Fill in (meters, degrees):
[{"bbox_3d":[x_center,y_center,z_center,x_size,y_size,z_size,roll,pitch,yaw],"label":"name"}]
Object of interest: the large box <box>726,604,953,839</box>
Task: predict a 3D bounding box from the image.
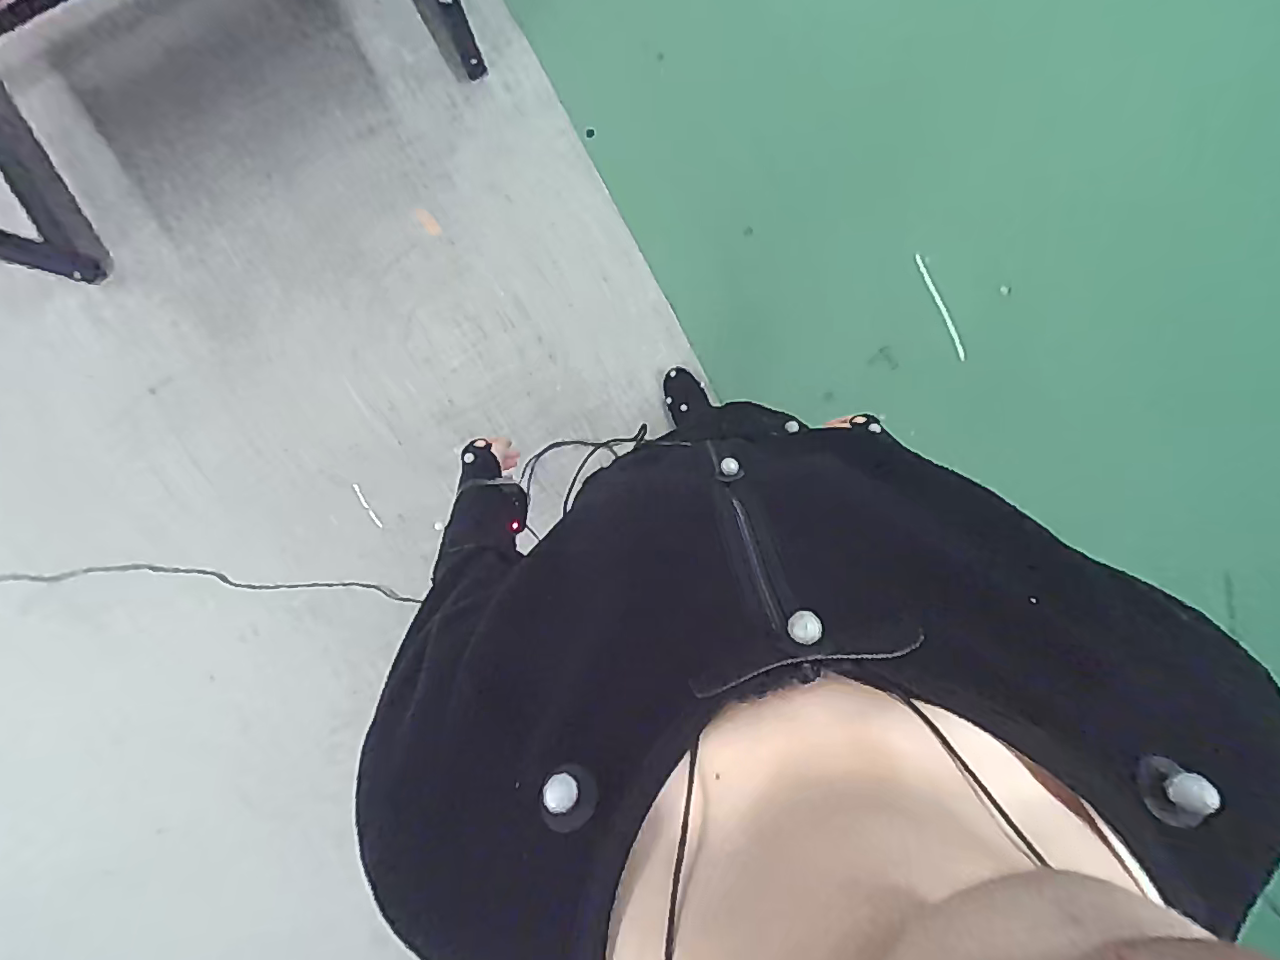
[{"bbox_3d":[0.494,0.606,1.422,0.408,0.320,0.320,-43,96,1],"label":"large box"}]
